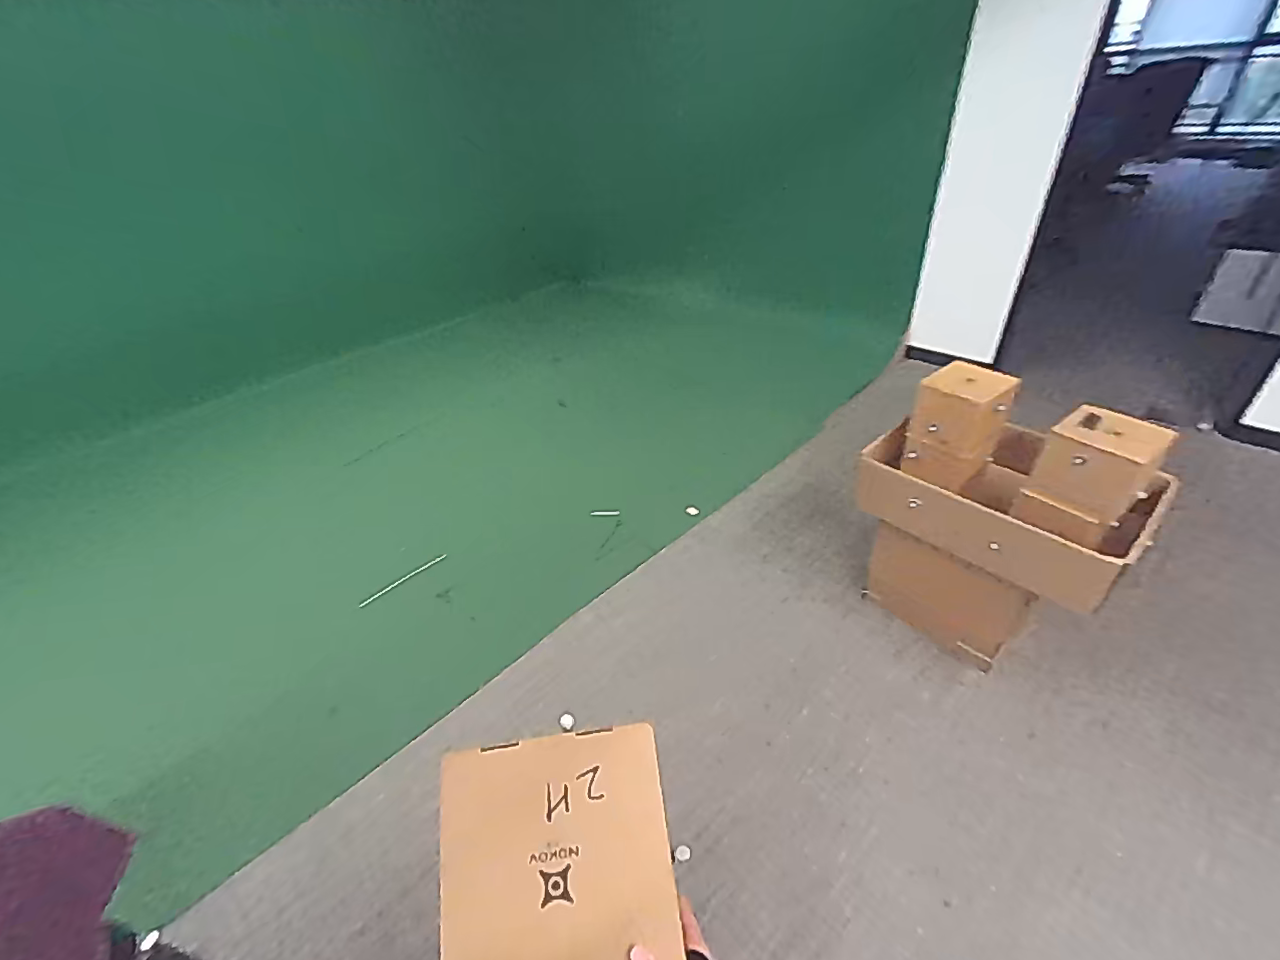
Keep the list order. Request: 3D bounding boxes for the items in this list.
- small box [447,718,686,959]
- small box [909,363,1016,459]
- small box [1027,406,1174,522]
[{"bbox_3d":[-0.053,0.307,0.461,0.168,0.176,0.179,-7,66,-2],"label":"small box"},{"bbox_3d":[0.840,-0.183,1.426,0.179,0.176,0.168,-28,42,-25],"label":"small box"},{"bbox_3d":[1.013,-0.036,1.206,0.168,0.176,0.179,-27,42,-24],"label":"small box"}]
